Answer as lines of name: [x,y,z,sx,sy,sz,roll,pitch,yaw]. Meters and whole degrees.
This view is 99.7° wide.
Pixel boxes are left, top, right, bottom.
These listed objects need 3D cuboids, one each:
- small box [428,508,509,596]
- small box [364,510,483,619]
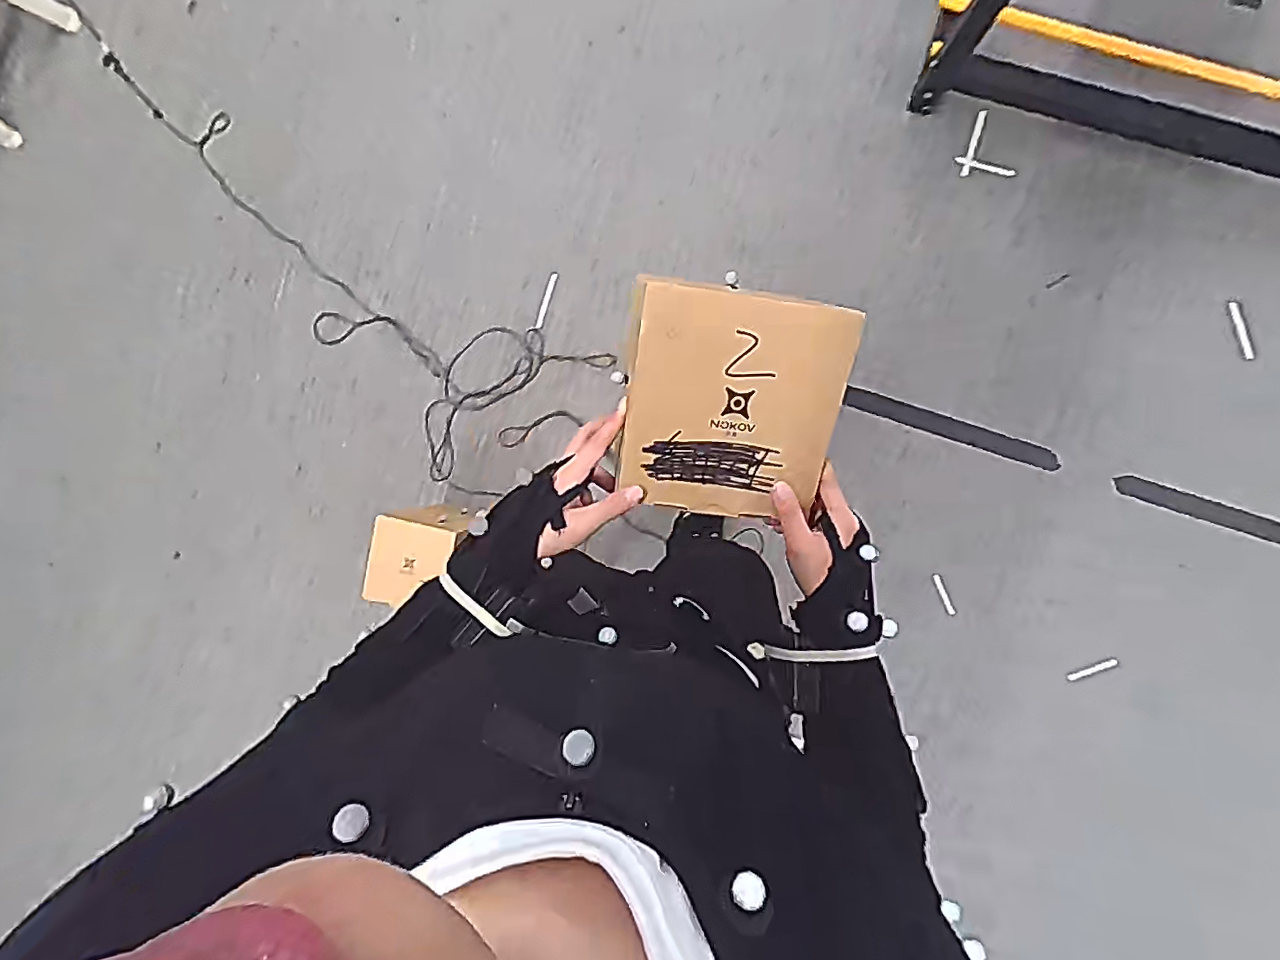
small box: [-0.437,0.165,1.308,0.179,0.176,0.168,11,94,3]
small box: [-0.447,0.169,1.146,0.168,0.176,0.179,13,94,3]
